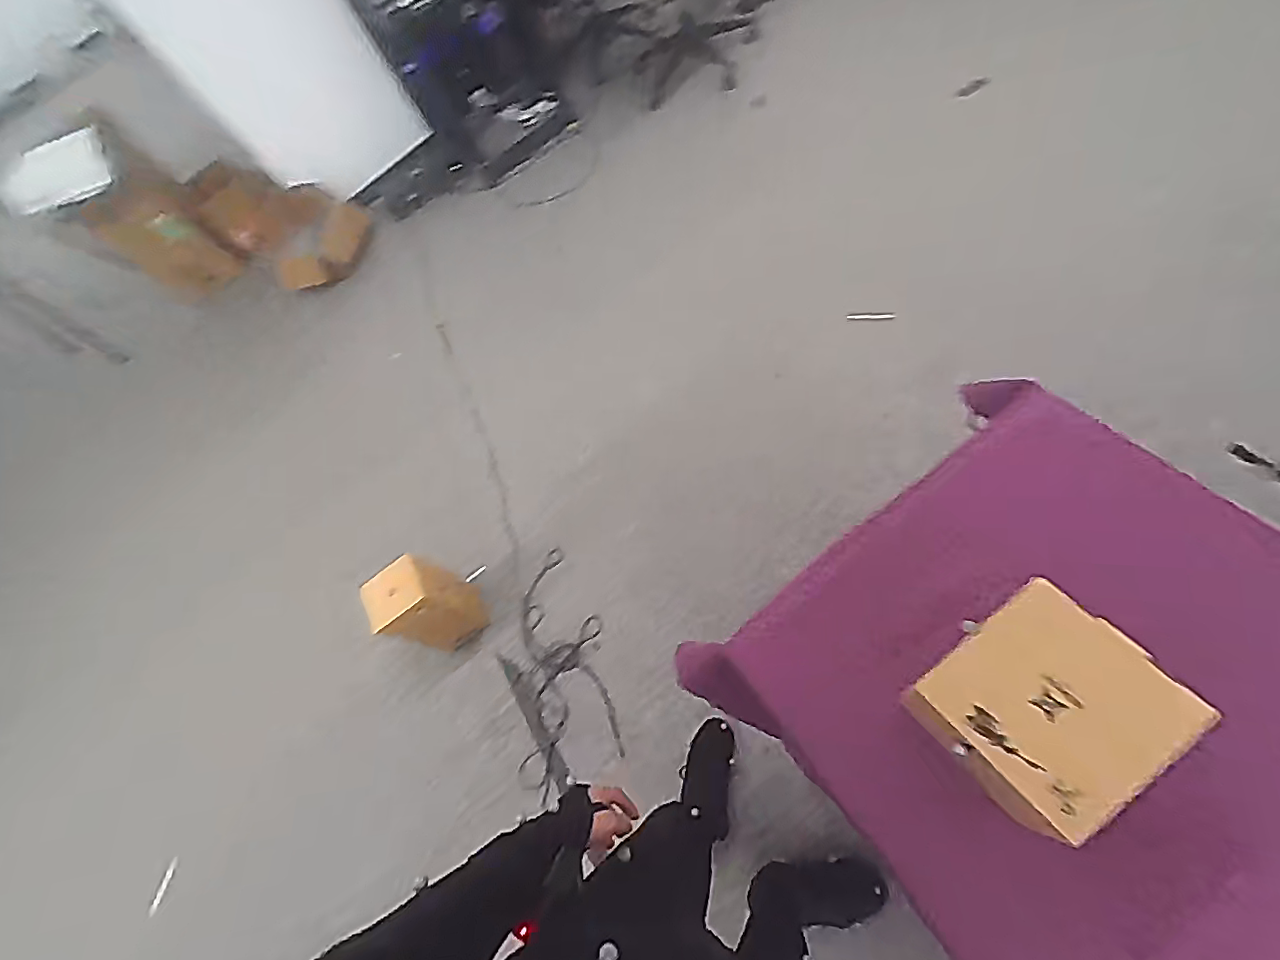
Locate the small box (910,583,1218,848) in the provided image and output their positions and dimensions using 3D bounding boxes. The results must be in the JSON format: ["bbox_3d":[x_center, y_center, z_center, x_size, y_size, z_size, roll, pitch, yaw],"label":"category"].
[{"bbox_3d":[0.416,0.243,0.574,0.179,0.176,0.168,-39,58,-2],"label":"small box"}]

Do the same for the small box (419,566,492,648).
[{"bbox_3d":[-0.605,0.409,1.719,0.168,0.176,0.179,-37,58,0],"label":"small box"}]

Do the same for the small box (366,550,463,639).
[{"bbox_3d":[-0.656,0.341,1.581,0.179,0.176,0.168,-36,58,1],"label":"small box"}]
